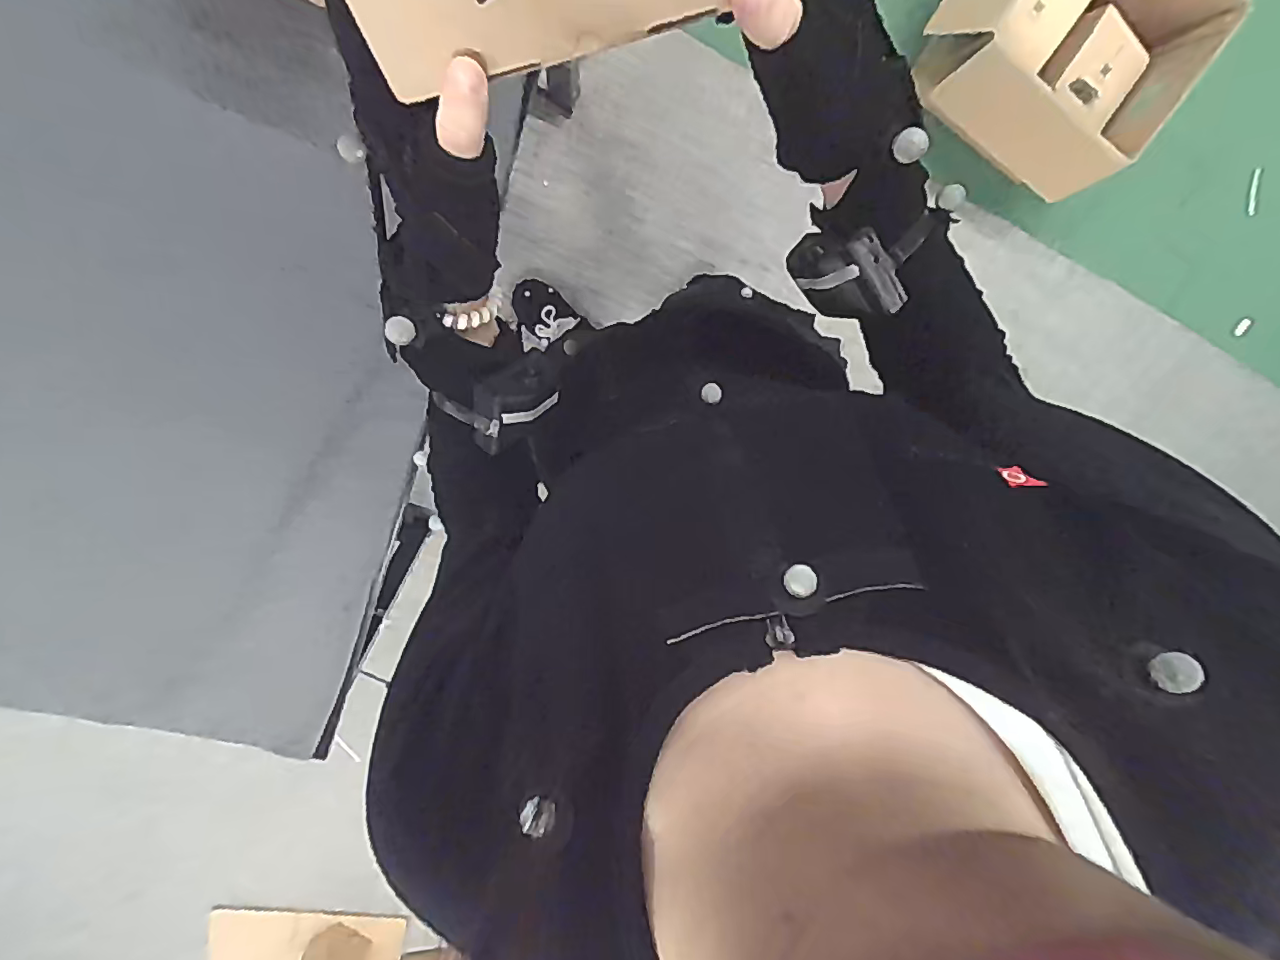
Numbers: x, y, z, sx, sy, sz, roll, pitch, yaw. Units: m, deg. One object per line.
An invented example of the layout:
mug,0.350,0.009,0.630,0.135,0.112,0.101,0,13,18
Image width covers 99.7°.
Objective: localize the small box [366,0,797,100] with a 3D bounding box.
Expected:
small box,-0.041,-0.281,0.185,0.168,0.176,0.179,-13,148,3
